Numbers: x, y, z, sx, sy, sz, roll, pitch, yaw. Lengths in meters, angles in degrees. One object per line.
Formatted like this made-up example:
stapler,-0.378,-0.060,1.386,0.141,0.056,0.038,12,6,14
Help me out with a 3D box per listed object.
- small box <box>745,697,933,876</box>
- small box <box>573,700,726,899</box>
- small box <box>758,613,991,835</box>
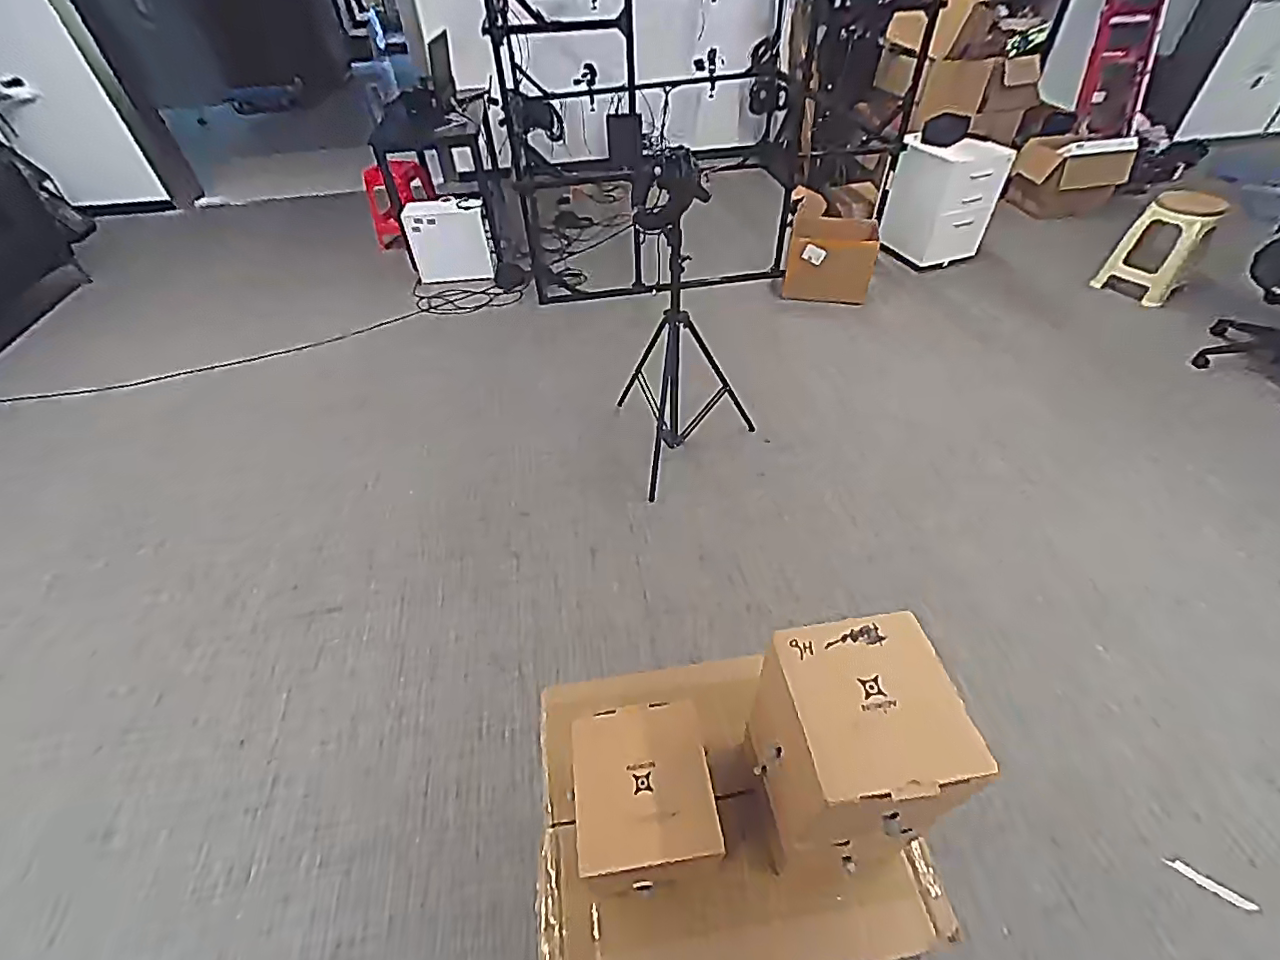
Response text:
small box,0.244,0.396,0.720,0.168,0.176,0.179,-9,46,-3
small box,0.006,0.420,0.712,0.168,0.176,0.179,-8,47,-5
small box,0.239,0.278,0.606,0.168,0.176,0.179,-8,46,-3
